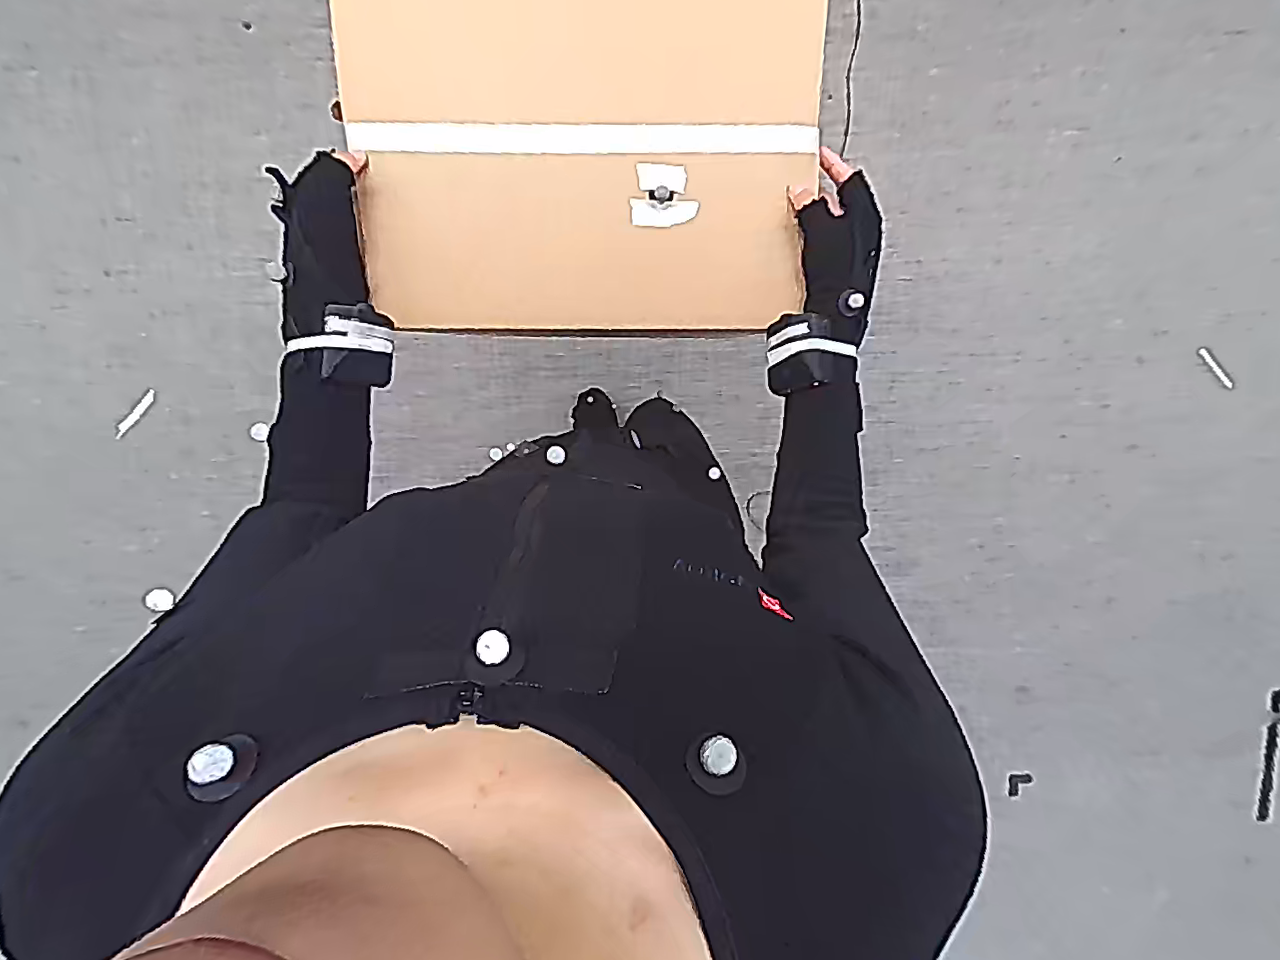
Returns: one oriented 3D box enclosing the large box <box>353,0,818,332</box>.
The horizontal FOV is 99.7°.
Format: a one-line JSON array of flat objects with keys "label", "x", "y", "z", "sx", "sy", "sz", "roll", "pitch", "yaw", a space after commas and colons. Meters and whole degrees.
[{"label": "large box", "x": -0.049, "y": -0.341, "z": 0.630, "sx": 0.408, "sy": 0.320, "sz": 0.320, "roll": -1, "pitch": 104, "yaw": -2}]
